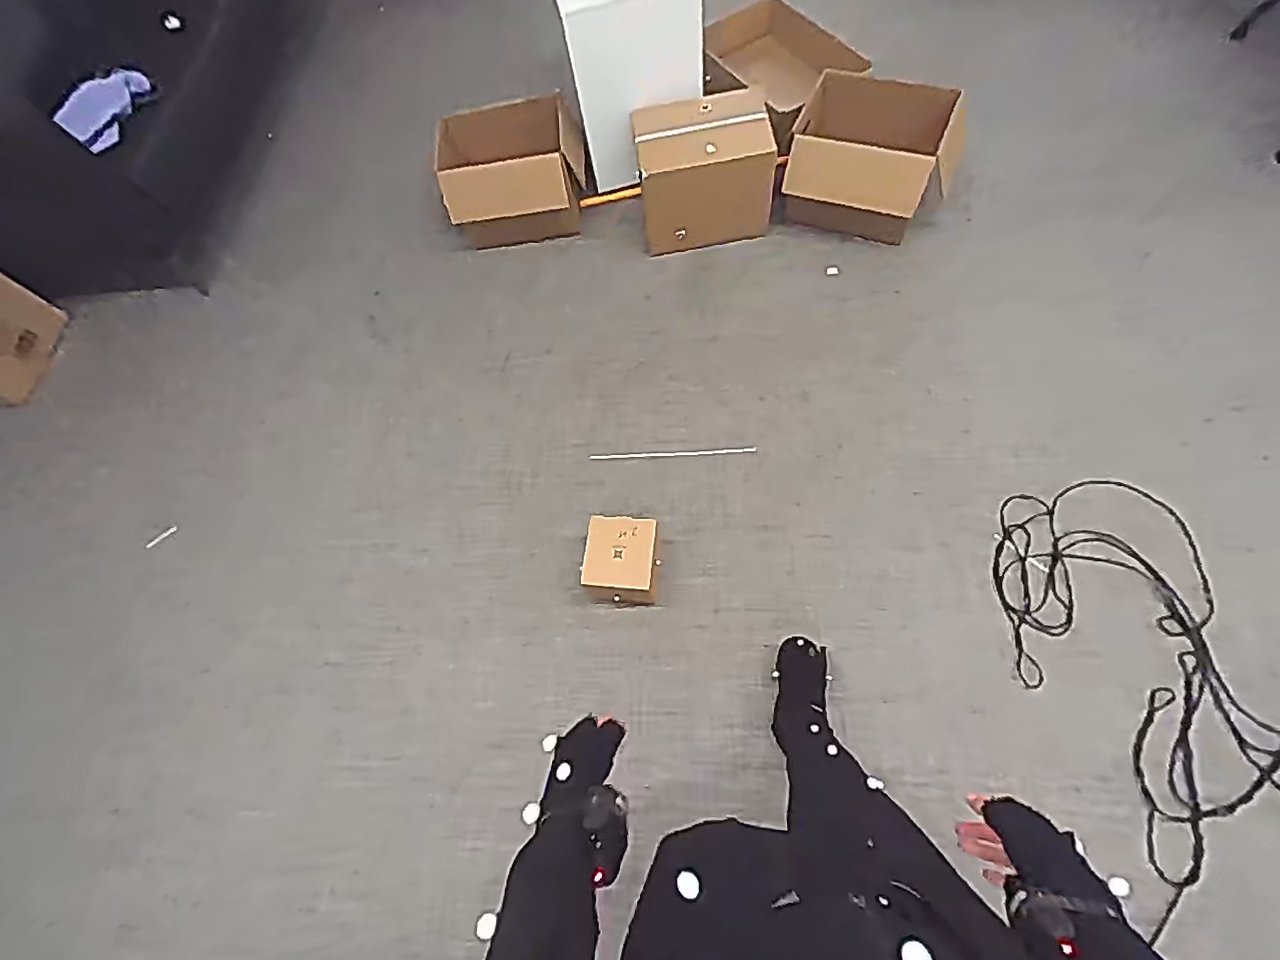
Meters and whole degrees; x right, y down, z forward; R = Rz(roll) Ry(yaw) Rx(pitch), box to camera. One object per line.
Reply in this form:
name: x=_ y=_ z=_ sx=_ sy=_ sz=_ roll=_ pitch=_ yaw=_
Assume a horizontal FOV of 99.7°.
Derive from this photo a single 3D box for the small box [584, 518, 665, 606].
small box: x=-0.030 y=0.210 z=1.351 sx=0.168 sy=0.176 sz=0.179 roll=4 pitch=66 yaw=9
